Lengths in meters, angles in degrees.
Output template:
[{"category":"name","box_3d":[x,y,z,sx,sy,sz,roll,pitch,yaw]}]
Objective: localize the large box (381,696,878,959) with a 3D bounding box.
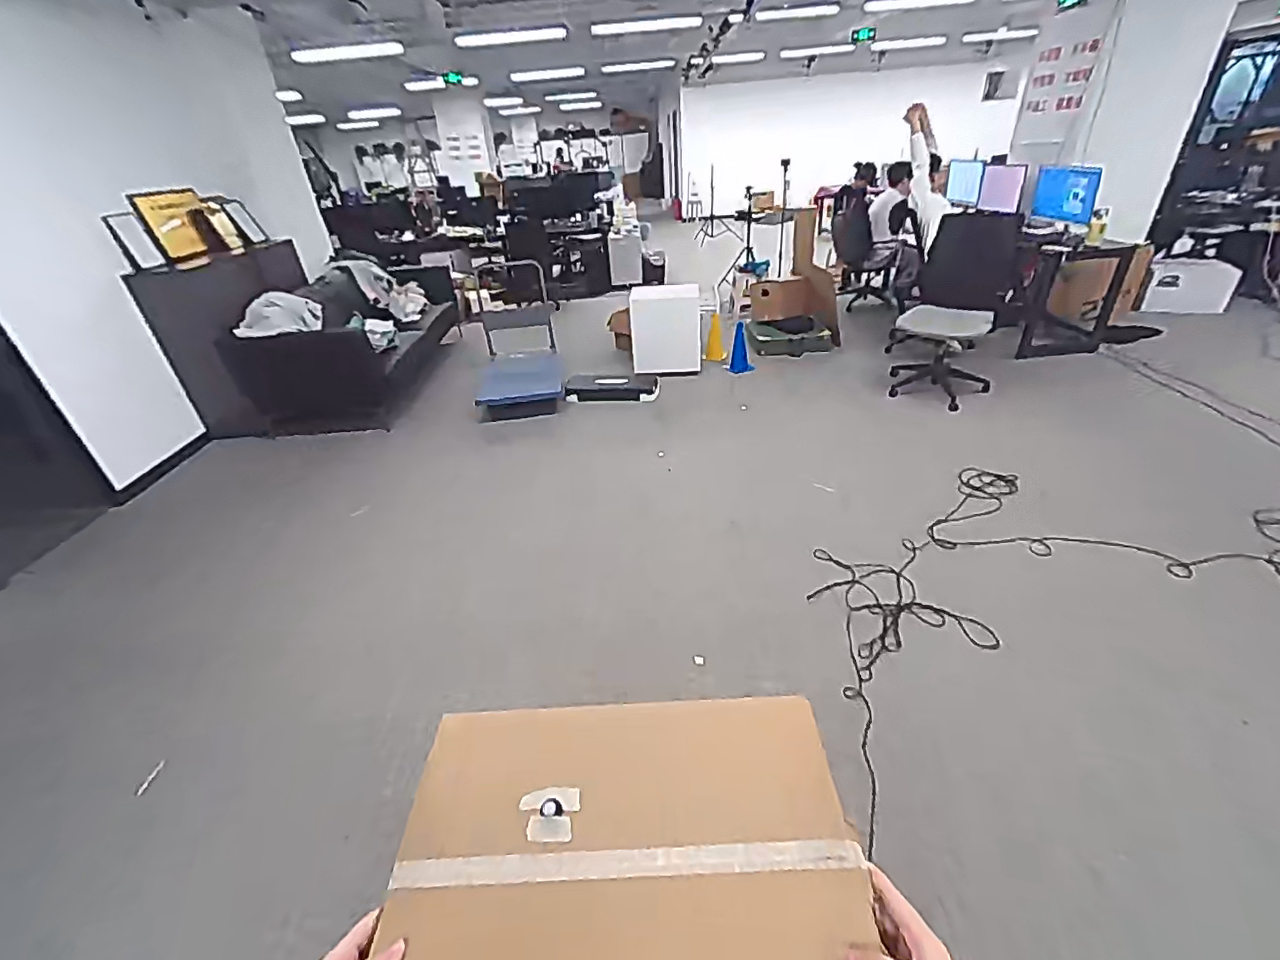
[{"category":"large box","box_3d":[0.001,0.468,0.566,0.408,0.320,0.320,-6,33,3]}]
